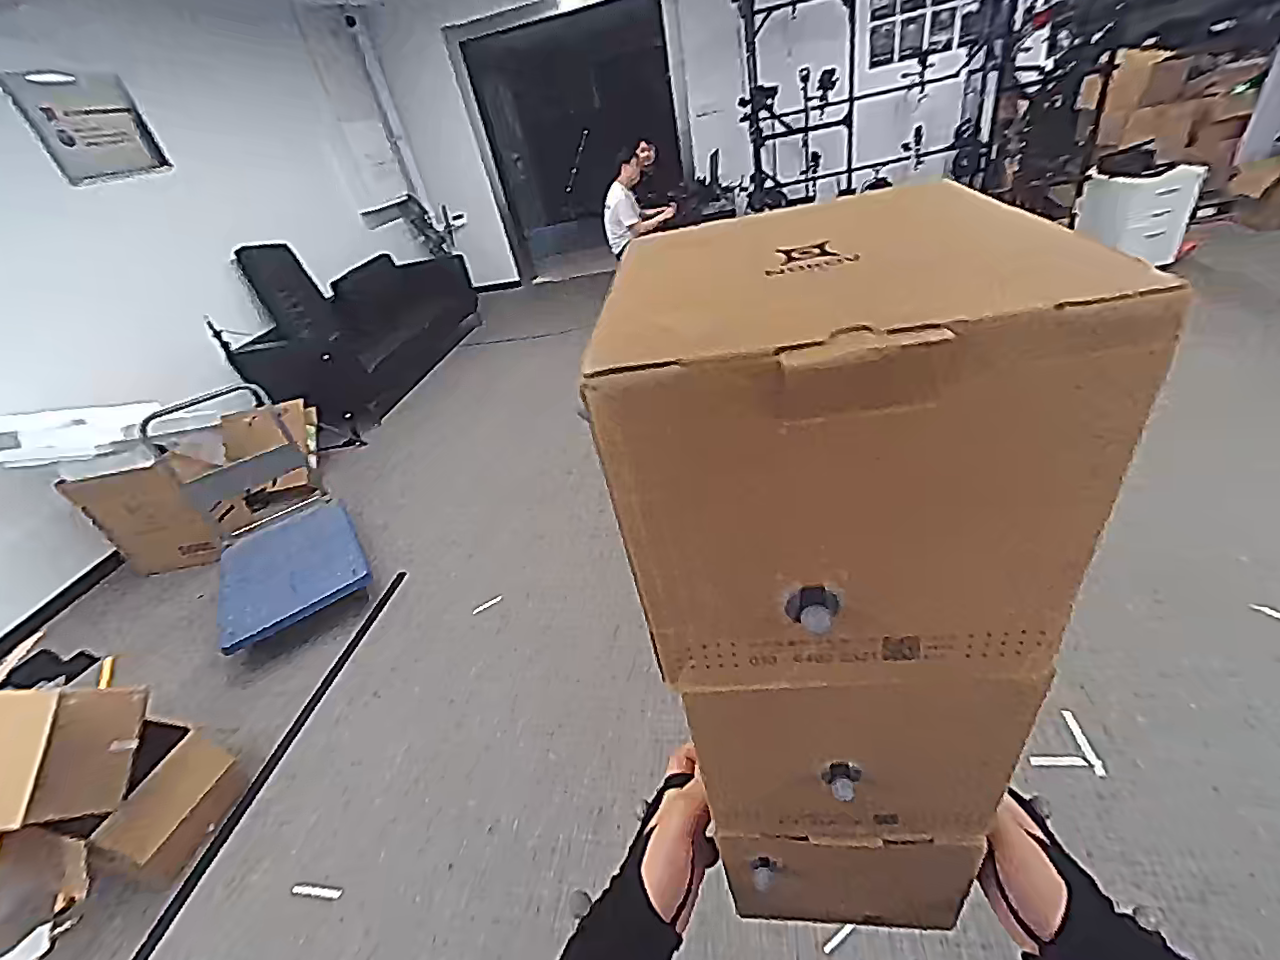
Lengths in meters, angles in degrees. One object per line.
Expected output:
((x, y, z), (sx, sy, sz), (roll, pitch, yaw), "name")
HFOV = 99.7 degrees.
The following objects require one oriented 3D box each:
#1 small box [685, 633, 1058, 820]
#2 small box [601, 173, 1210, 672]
((0.125, 0.098, 0.357), (0.168, 0.176, 0.179), (-6, 35, 10), "small box")
((0.089, -0.032, 0.265), (0.168, 0.176, 0.179), (-7, 36, 10), "small box")
